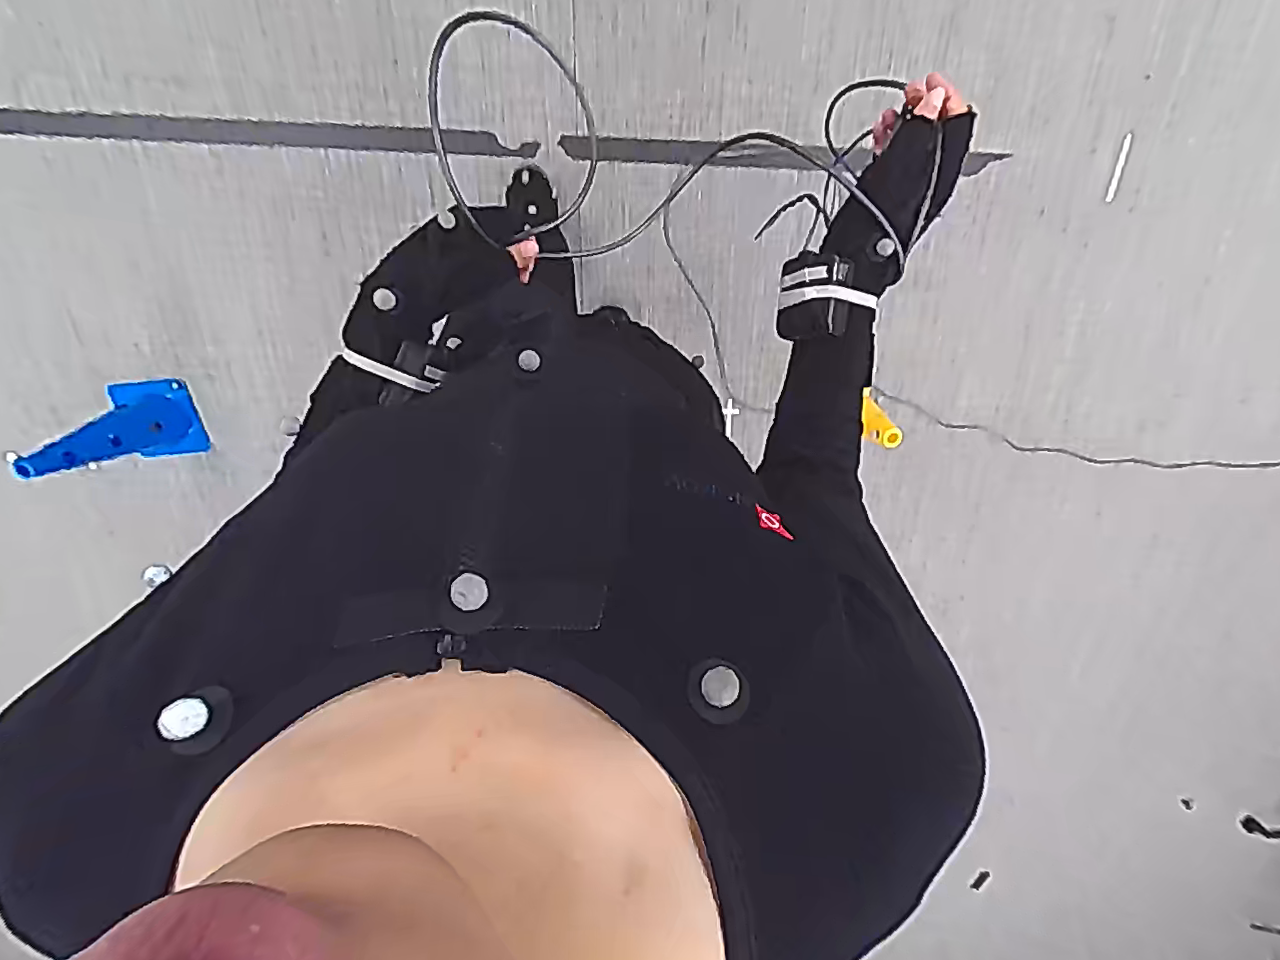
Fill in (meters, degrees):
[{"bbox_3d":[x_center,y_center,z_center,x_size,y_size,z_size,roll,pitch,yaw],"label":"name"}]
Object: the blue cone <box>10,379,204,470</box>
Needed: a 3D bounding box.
[{"bbox_3d":[-1.244,-0.099,1.252,0.193,0.380,0.192,-4,113,0],"label":"blue cone"}]
